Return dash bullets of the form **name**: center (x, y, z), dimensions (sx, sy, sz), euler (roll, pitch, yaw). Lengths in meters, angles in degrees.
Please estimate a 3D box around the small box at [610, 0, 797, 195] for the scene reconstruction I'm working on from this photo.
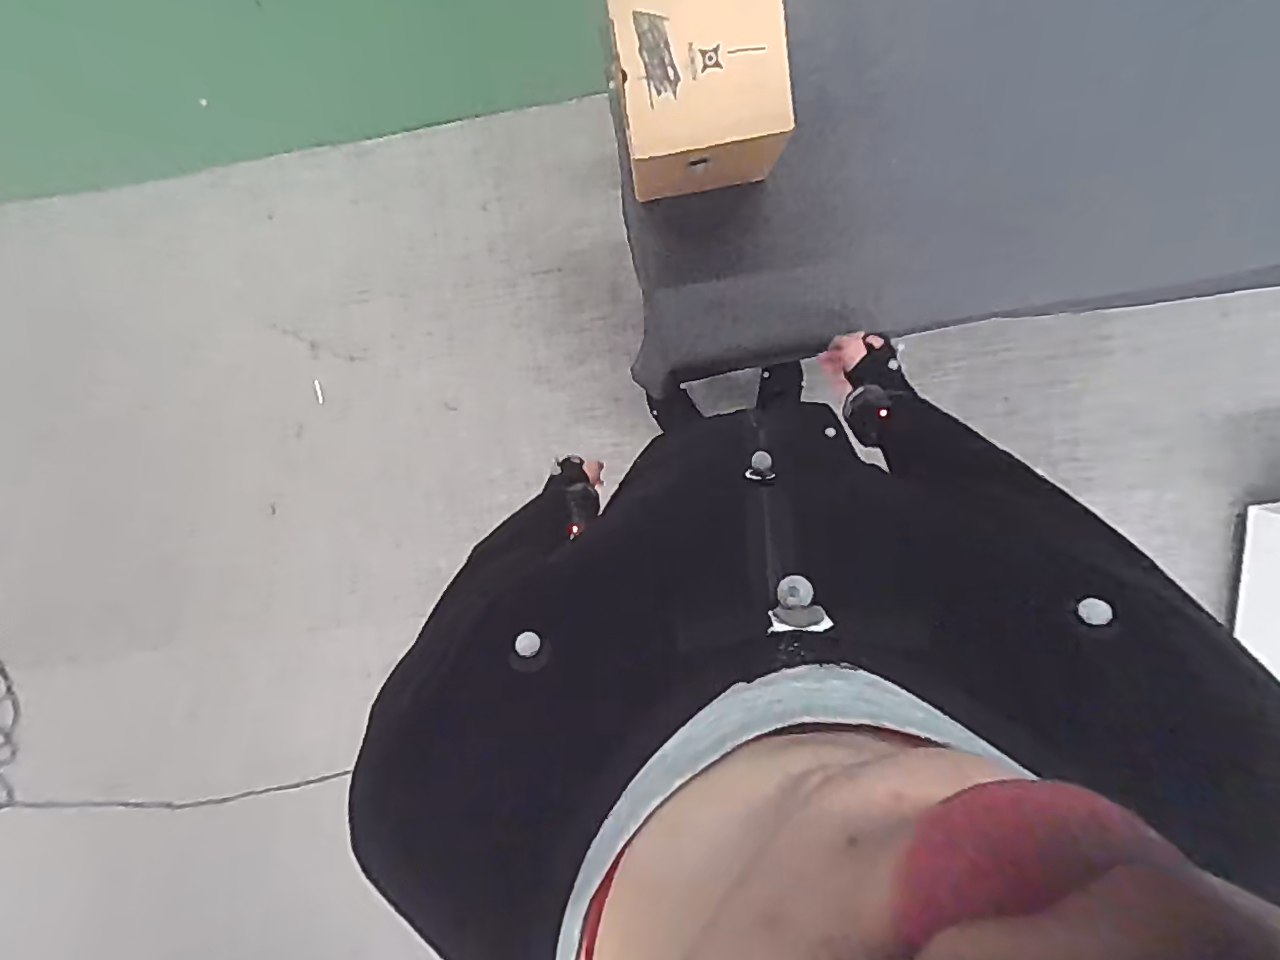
- **small box**: center (0.068, -0.448, 0.625), dimensions (0.179, 0.176, 0.168), euler (-9, 104, 2)
